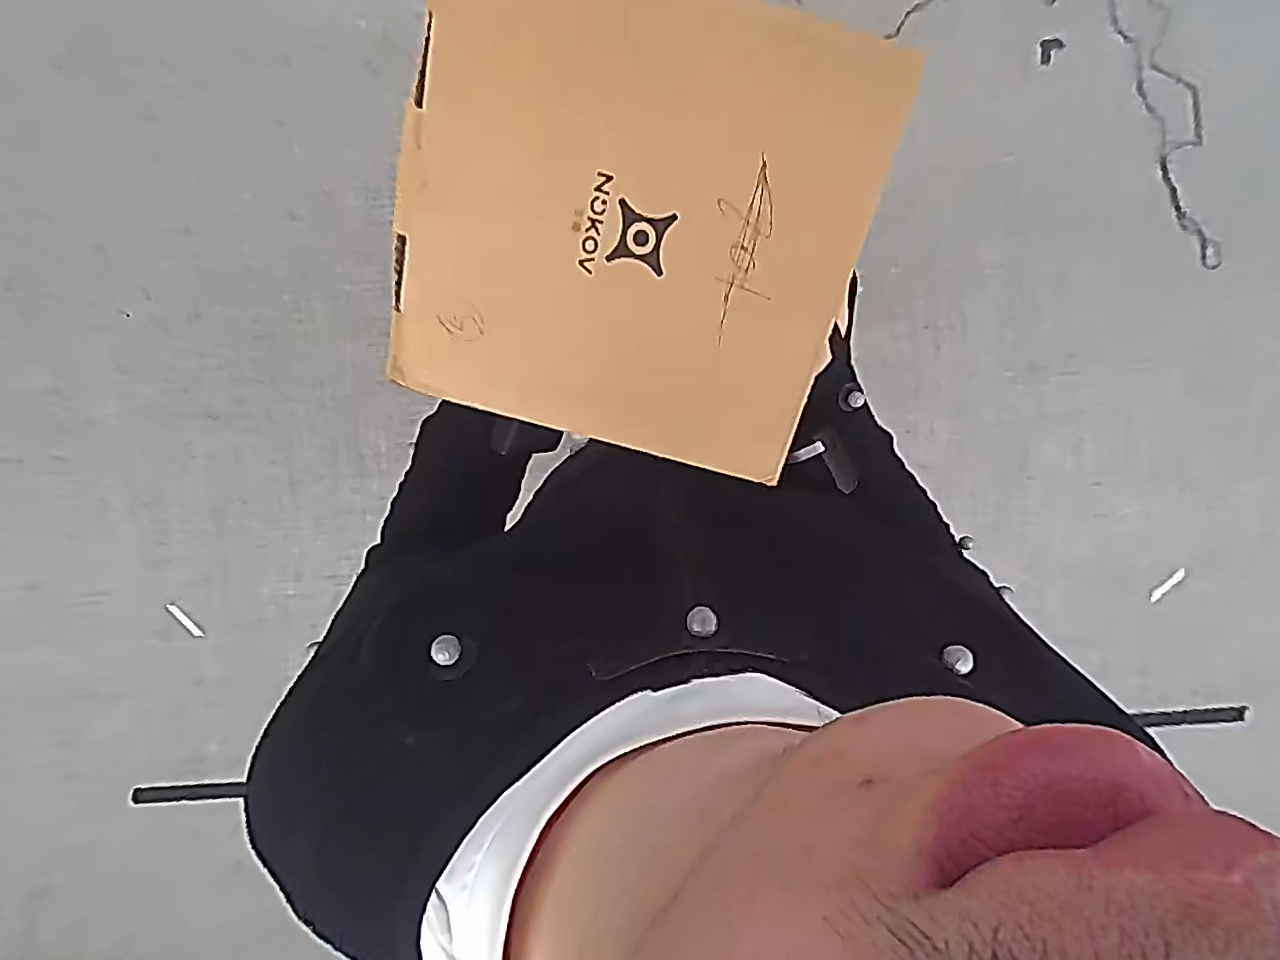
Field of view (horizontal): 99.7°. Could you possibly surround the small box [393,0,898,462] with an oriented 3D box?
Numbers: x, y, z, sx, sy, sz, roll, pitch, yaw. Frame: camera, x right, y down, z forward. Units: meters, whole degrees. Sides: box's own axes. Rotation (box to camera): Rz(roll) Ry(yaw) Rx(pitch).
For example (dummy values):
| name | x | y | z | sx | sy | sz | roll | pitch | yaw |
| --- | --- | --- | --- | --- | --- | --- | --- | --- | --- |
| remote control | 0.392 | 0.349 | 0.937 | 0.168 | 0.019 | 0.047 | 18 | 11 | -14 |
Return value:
| name | x | y | z | sx | sy | sz | roll | pitch | yaw |
| --- | --- | --- | --- | --- | --- | --- | --- | --- | --- |
| small box | -0.006 | -0.128 | 0.297 | 0.179 | 0.176 | 0.168 | 14 | 109 | -5 |
